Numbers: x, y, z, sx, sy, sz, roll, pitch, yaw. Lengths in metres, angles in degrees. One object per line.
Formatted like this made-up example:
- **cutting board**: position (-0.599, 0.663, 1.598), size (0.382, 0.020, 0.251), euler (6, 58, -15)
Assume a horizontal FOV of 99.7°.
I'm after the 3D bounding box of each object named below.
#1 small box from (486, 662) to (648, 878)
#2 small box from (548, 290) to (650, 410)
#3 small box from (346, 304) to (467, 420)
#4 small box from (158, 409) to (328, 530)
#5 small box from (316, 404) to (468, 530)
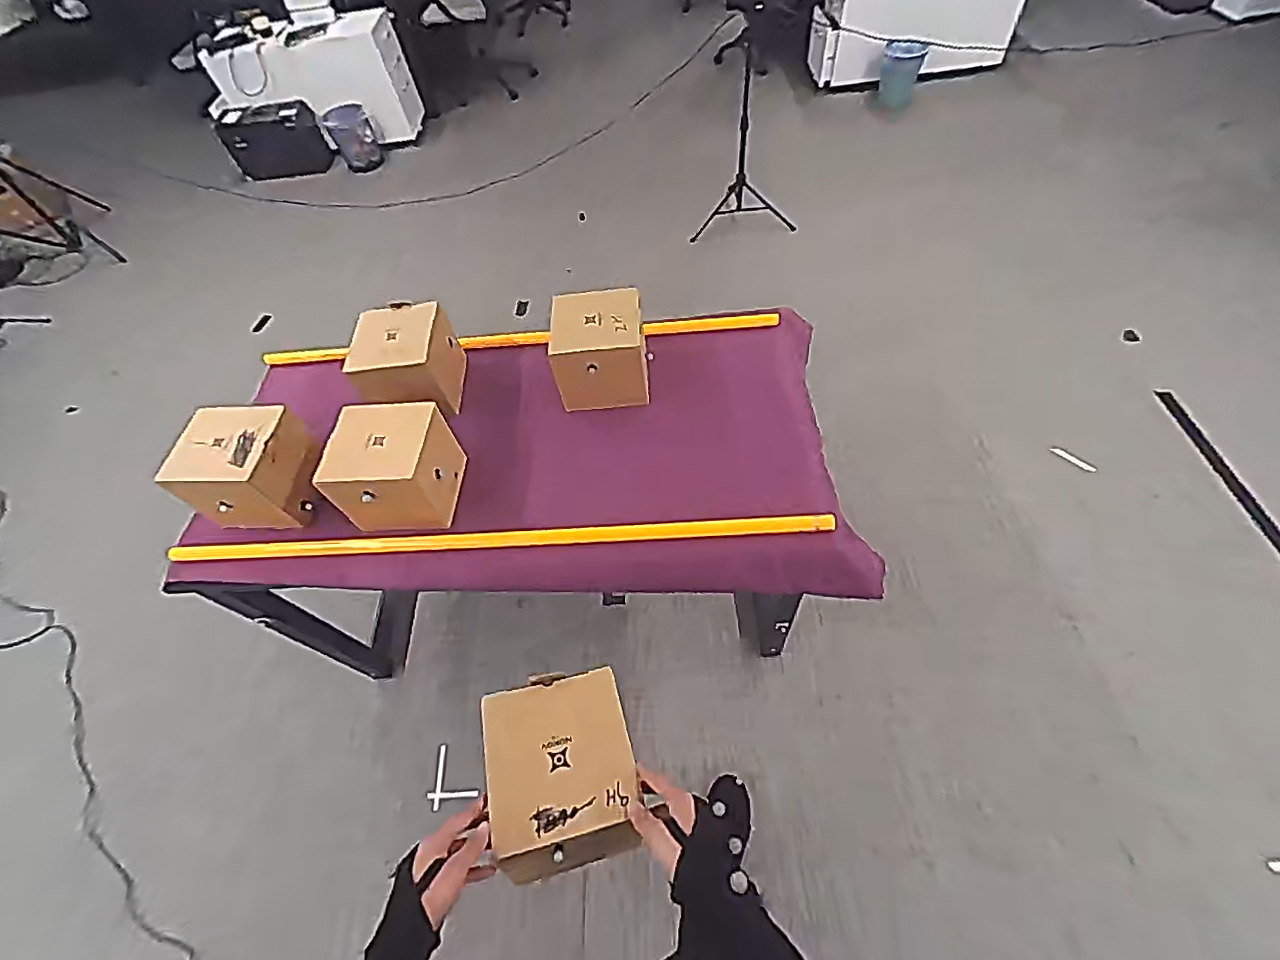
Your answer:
- **small box**: position (-0.094, 0.360, 0.676), size (0.168, 0.176, 0.179), euler (-10, 47, -12)
- **small box**: position (-0.075, -0.257, 1.097), size (0.179, 0.176, 0.168), euler (-4, 58, 4)
- **small box**: position (-0.475, -0.239, 1.133), size (0.168, 0.176, 0.179), euler (-7, 57, 3)
- **small box**: position (-0.715, -0.016, 1.010), size (0.179, 0.176, 0.168), euler (0, 57, 6)
- **small box**: position (-0.434, -0.018, 0.983), size (0.179, 0.176, 0.168), euler (-3, 56, 6)
